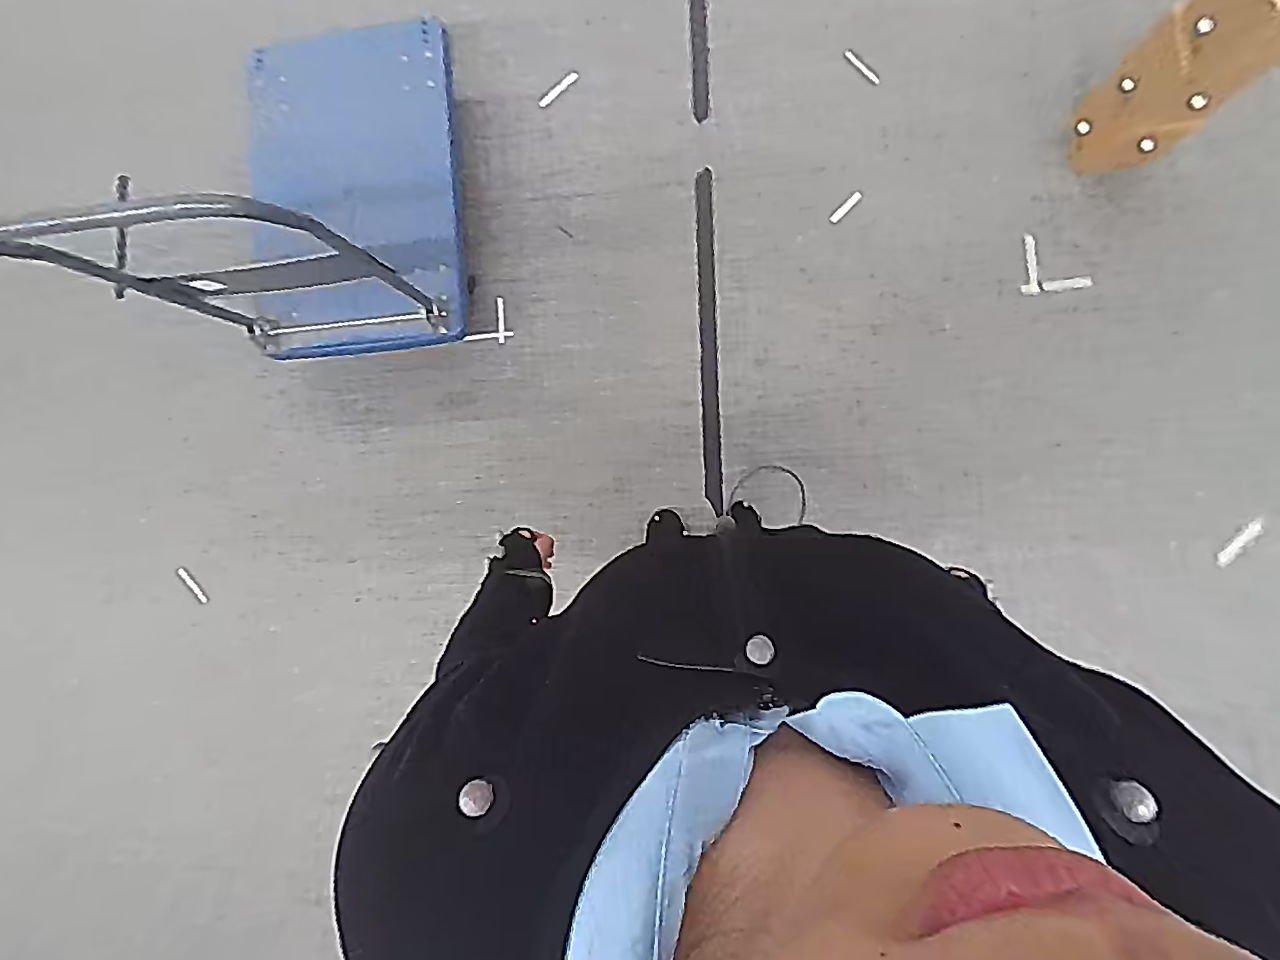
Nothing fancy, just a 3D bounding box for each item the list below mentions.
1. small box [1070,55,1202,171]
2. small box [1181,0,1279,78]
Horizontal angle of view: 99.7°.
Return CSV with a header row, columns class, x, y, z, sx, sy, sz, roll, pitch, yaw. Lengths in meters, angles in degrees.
class,x,y,z,sx,sy,sz,roll,pitch,yaw
small box,1.226,-0.906,1.349,0.179,0.176,0.168,-5,88,6
small box,1.197,-0.913,1.021,0.179,0.176,0.168,-8,87,7
